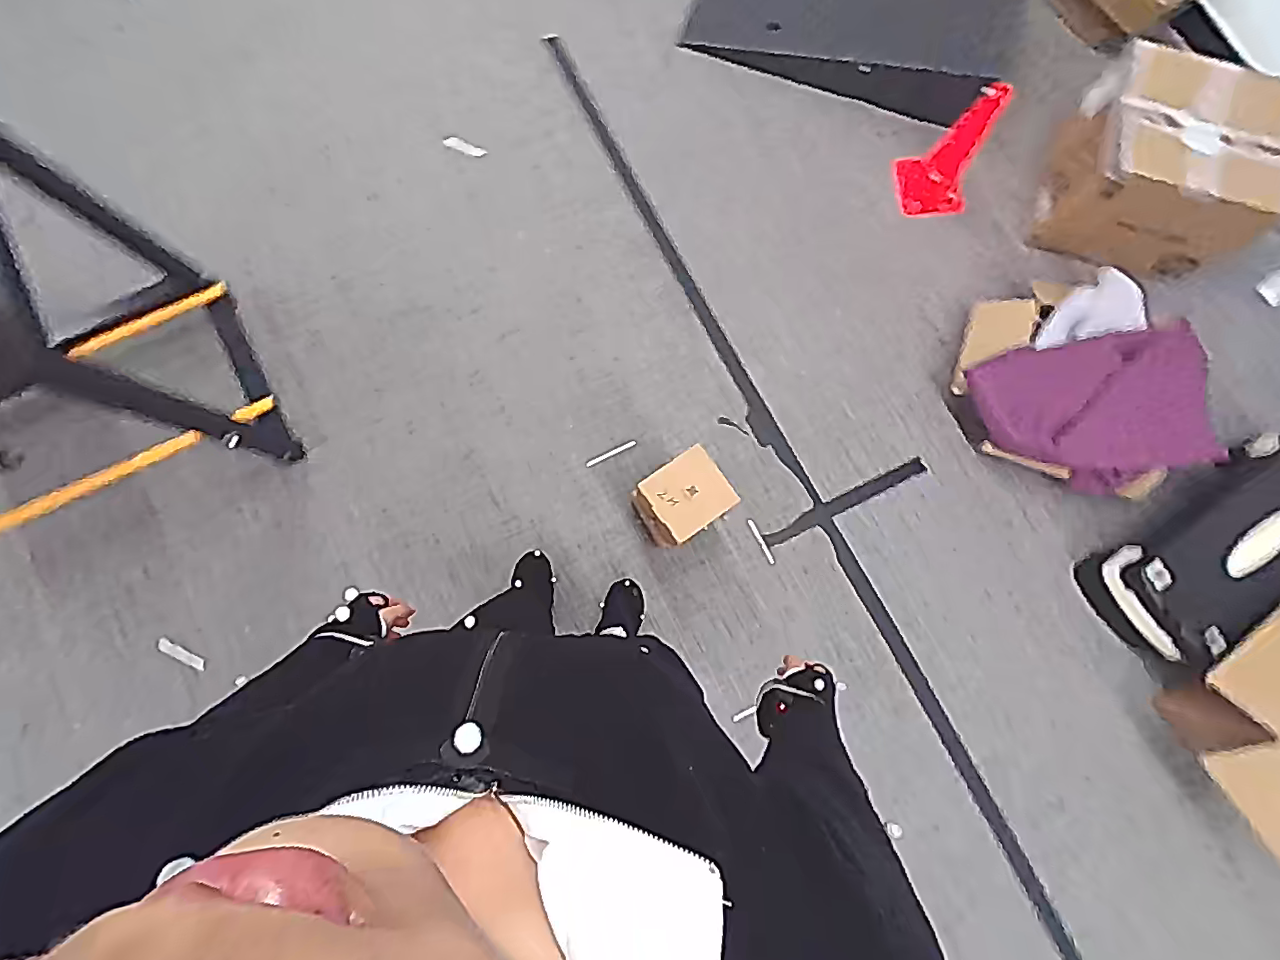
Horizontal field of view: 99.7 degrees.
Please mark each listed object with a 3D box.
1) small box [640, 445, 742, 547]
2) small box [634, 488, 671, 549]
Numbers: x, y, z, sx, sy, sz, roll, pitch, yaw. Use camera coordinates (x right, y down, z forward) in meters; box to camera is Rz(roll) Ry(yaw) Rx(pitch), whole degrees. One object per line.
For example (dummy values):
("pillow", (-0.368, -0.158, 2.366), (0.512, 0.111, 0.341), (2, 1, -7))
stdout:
("small box", (0.112, 0.044, 1.289), (0.179, 0.176, 0.168), (-34, 82, -6))
("small box", (0.095, 0.074, 1.451), (0.179, 0.176, 0.168), (-29, 82, -4))
